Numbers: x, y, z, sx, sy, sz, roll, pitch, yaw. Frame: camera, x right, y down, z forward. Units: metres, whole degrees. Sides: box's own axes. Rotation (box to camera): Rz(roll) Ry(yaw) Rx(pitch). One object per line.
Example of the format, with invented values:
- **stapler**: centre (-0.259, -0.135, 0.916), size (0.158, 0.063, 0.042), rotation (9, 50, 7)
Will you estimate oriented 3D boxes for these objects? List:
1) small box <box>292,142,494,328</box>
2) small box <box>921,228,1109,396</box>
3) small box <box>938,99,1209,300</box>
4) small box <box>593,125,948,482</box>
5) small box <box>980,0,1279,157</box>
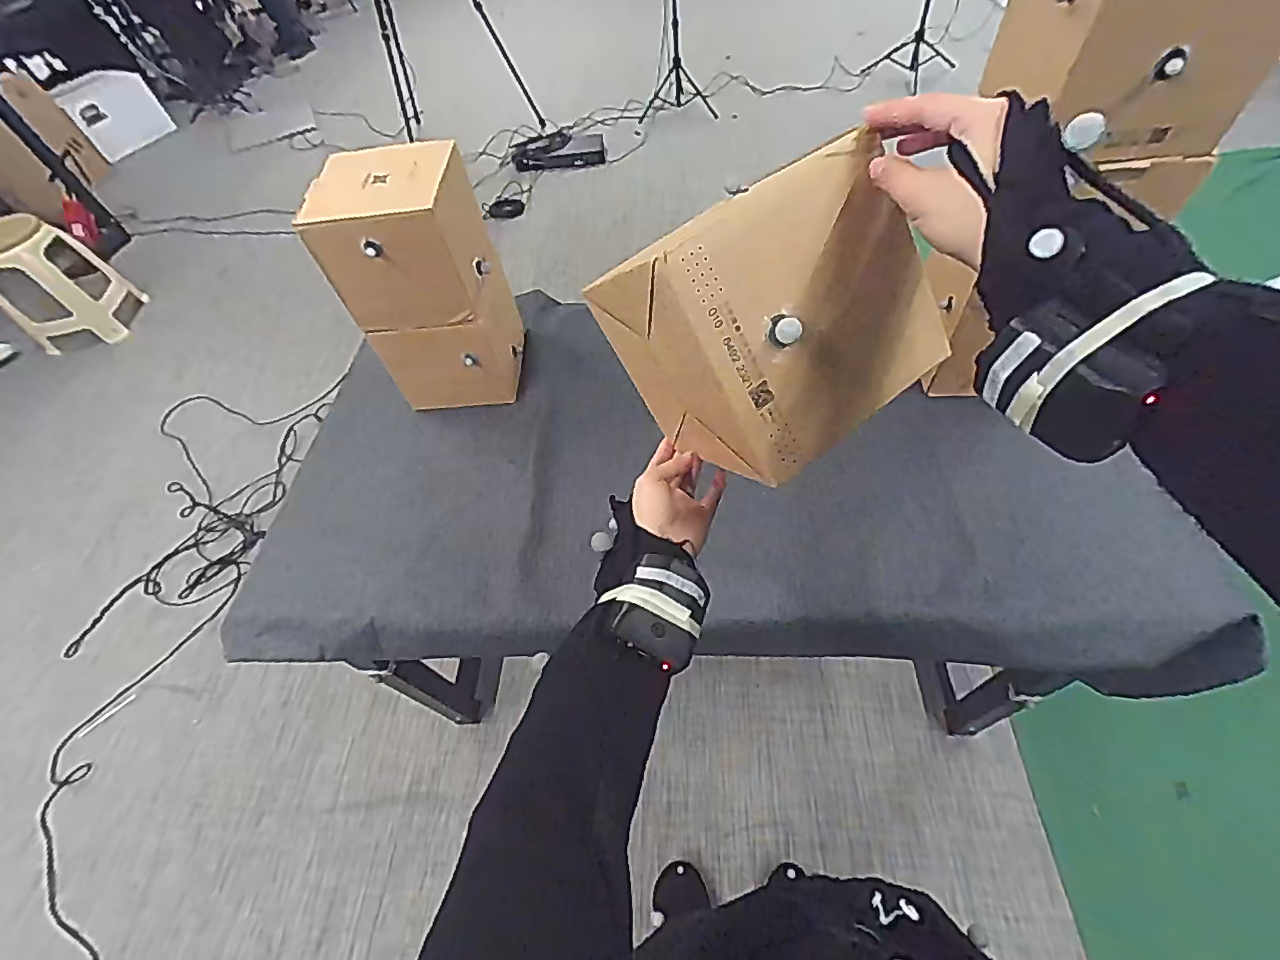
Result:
- **small box**: centre (-0.318, -0.326, 0.737), size (0.179, 0.176, 0.168), rotation (-4, 57, 3)
- **small box**: centre (0.499, -0.241, 0.771), size (0.168, 0.176, 0.179), rotation (0, 56, 8)
- **small box**: centre (0.477, -0.328, 0.634), size (0.168, 0.176, 0.179), rotation (1, 57, 8)
- **small box**: centre (0.084, -0.122, 0.416), size (0.176, 0.168, 0.179), rotation (-36, 22, -9)
- **small box**: centre (0.452, -0.421, 0.499), size (0.168, 0.176, 0.179), rotation (0, 56, 7)
